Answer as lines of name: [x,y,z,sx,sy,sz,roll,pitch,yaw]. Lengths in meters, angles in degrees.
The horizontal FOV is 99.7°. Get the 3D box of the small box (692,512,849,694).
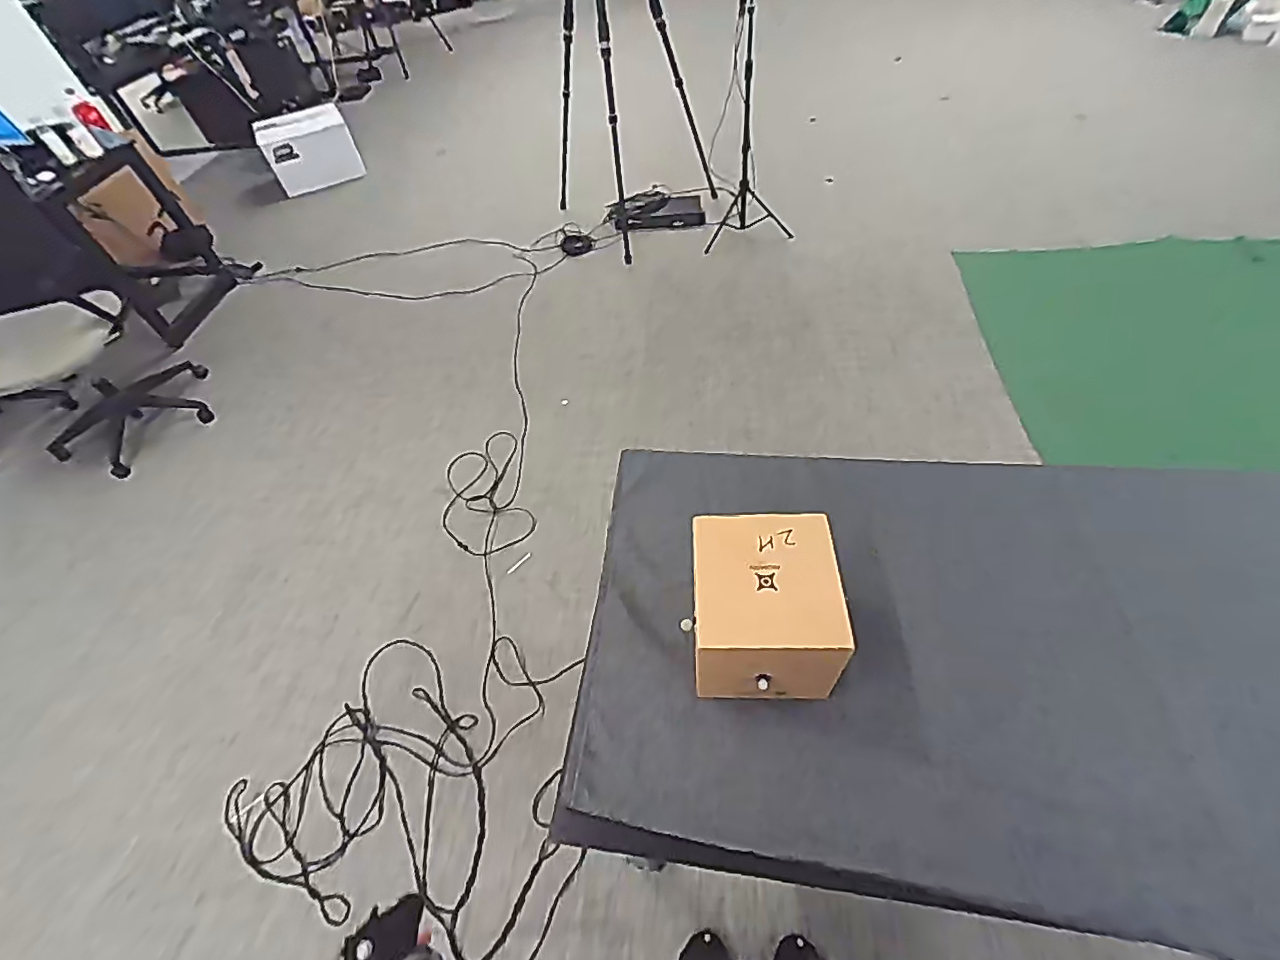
small box: [0.151,0.160,0.685,0.168,0.176,0.179,-1,51,5]
